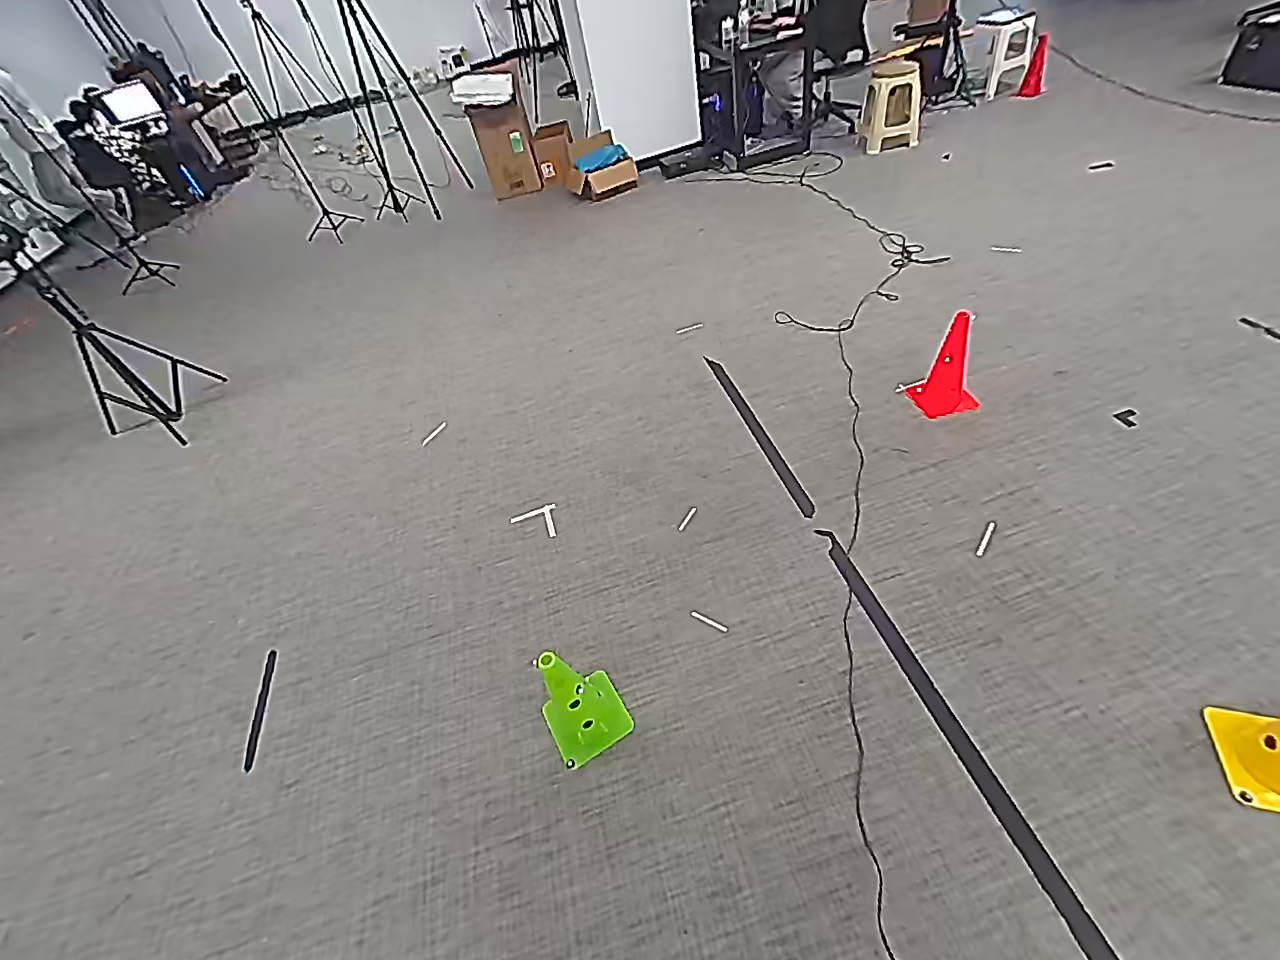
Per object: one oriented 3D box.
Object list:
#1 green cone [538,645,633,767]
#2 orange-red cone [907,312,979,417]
[{"bbox_3d":[-0.172,0.513,1.333,0.200,0.368,0.202,-29,45,-14],"label":"green cone"},{"bbox_3d":[1.105,-0.428,1.912,0.198,0.360,0.199,-13,46,3],"label":"orange-red cone"}]
